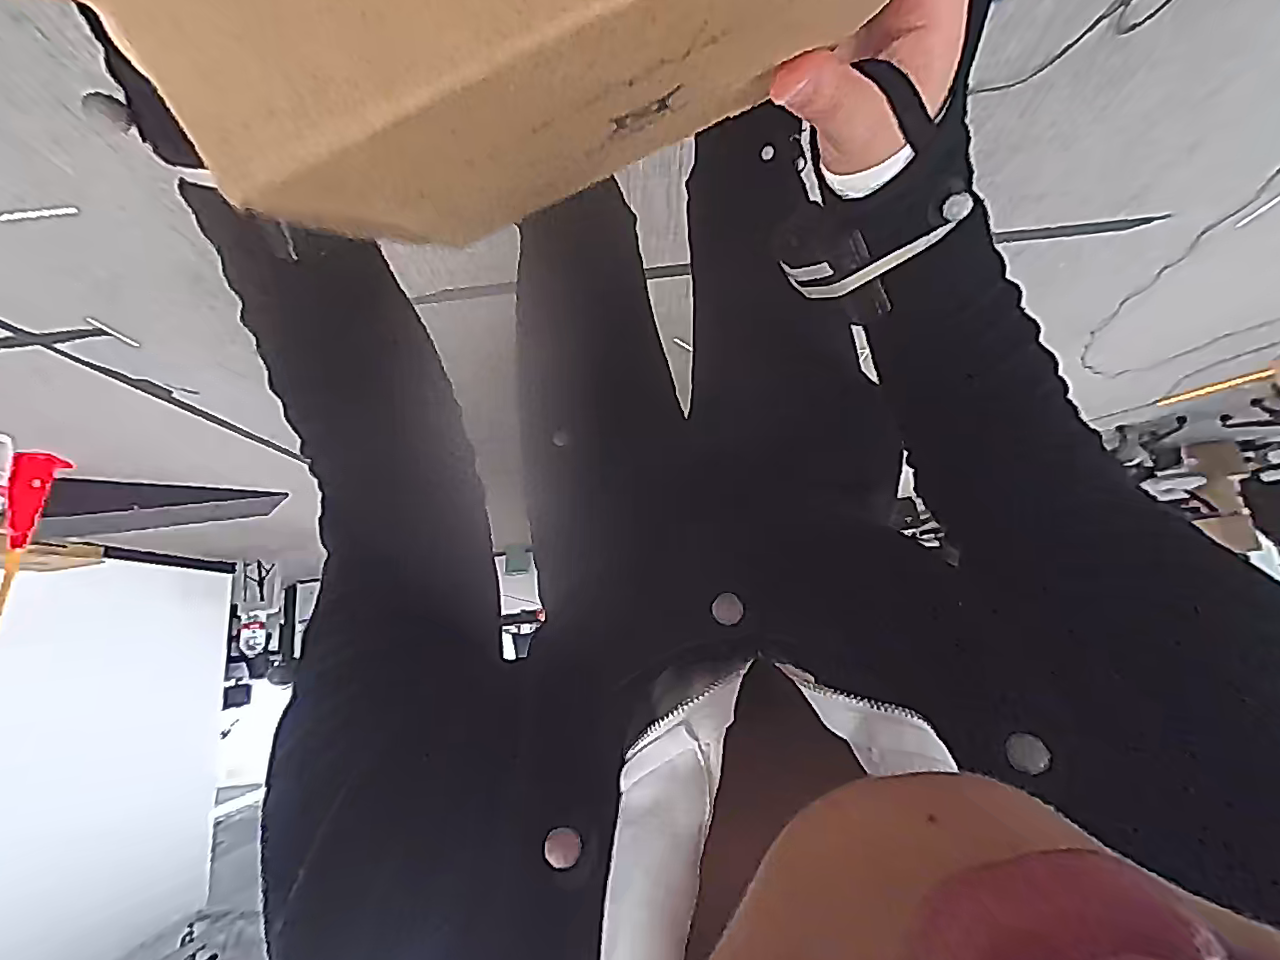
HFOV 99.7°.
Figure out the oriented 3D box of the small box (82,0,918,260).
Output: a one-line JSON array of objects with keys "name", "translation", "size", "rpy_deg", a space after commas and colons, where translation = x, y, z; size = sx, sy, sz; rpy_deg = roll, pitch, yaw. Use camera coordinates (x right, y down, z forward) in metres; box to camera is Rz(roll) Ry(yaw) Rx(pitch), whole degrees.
[{"name": "small box", "translation": [-0.030, -0.171, 0.125], "size": [0.168, 0.176, 0.179], "rpy_deg": [-26, -160, 4]}]
